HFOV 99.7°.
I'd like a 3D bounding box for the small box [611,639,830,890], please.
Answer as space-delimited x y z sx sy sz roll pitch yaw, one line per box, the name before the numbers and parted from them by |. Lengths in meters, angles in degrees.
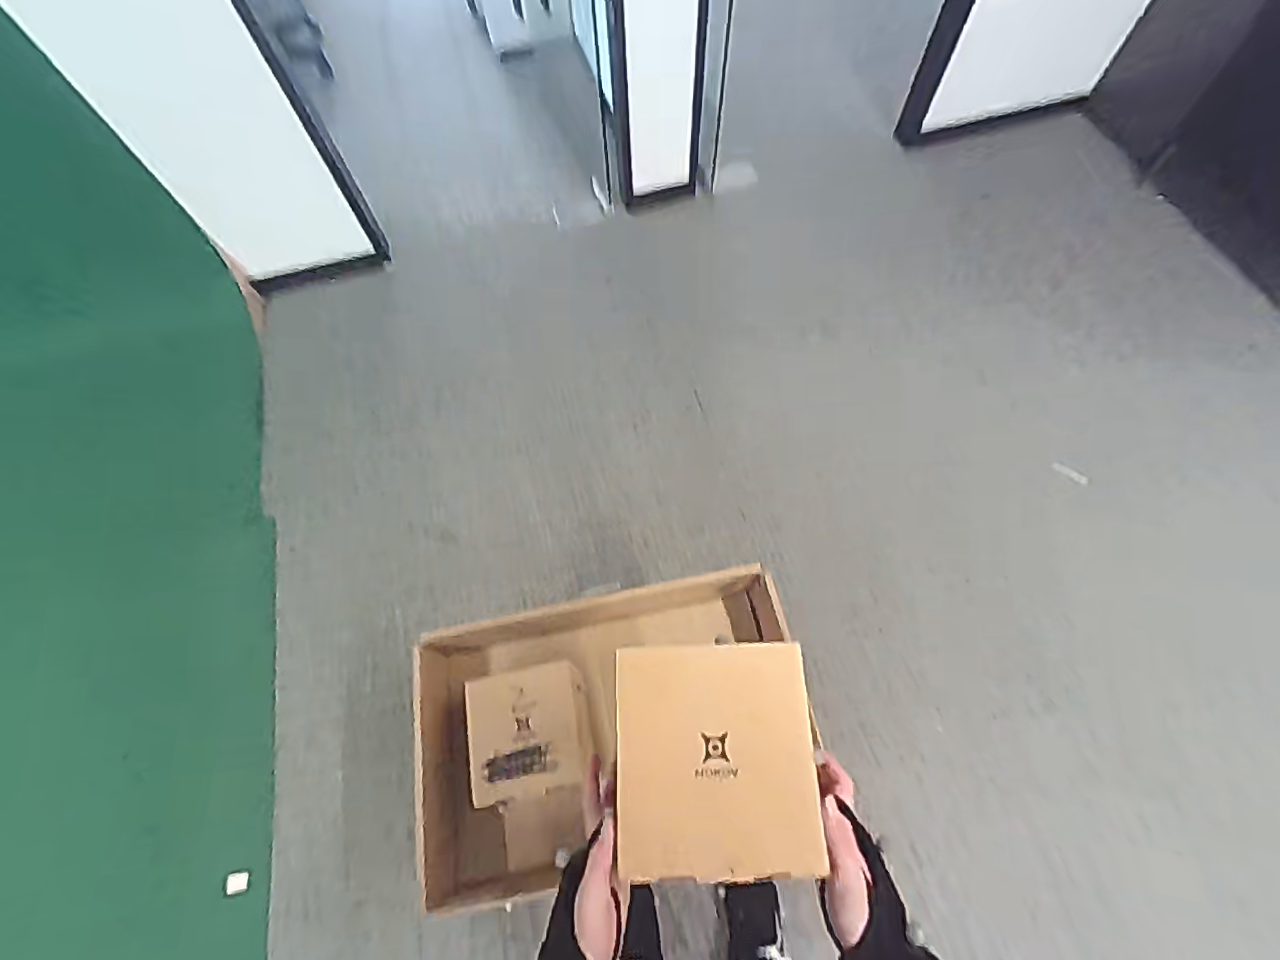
small box | 0.059 0.248 0.504 0.168 0.176 0.179 -3 70 1
